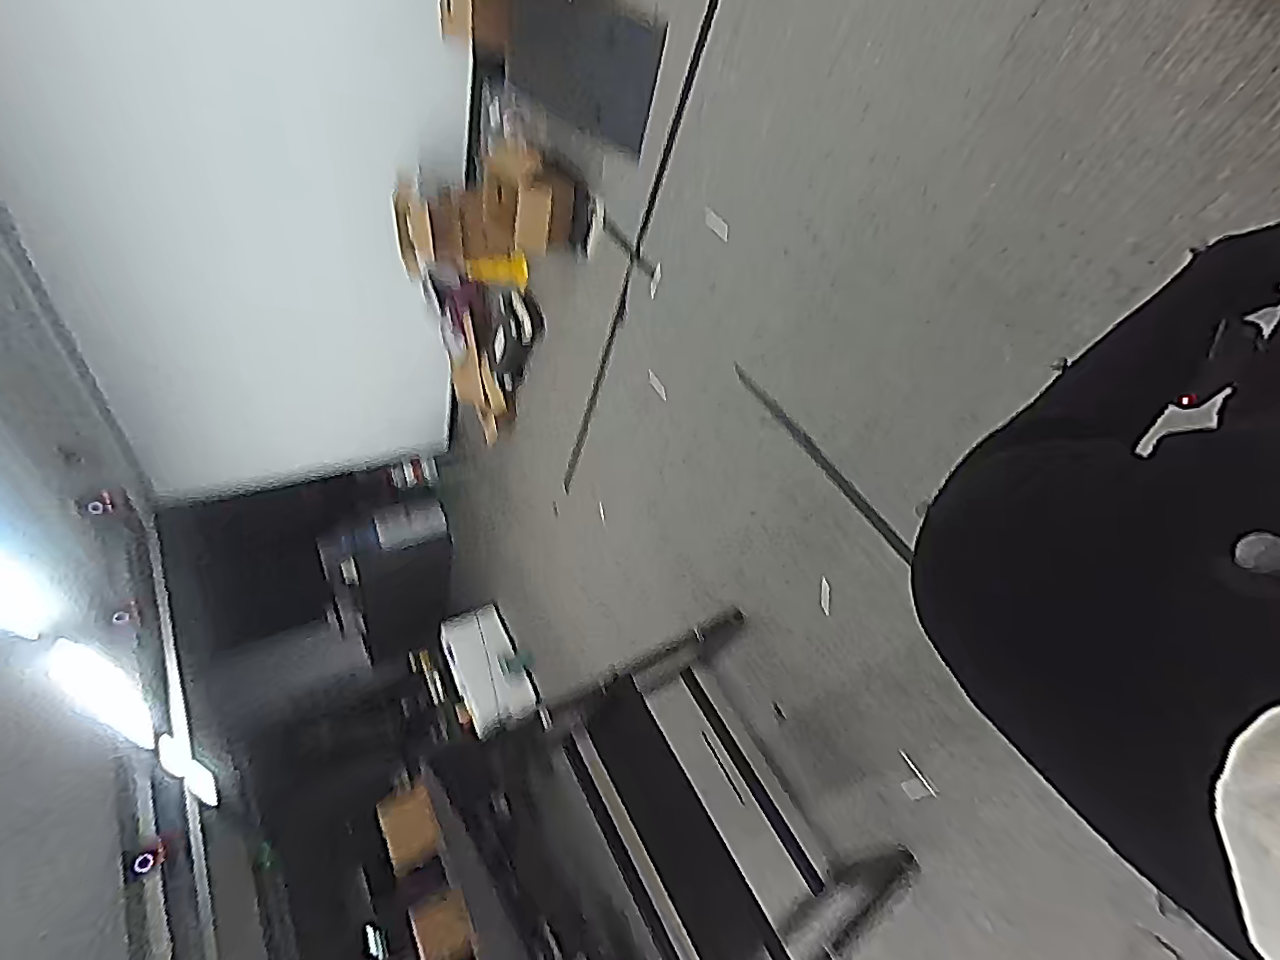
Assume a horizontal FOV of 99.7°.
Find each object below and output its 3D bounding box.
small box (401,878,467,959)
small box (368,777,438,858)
[{"bbox_3d":[-0.702,1.503,1.847,0.168,0.176,0.179,55,142,26],"label":"small box"},{"bbox_3d":[-0.773,1.104,1.775,0.168,0.176,0.179,57,147,23],"label":"small box"}]
